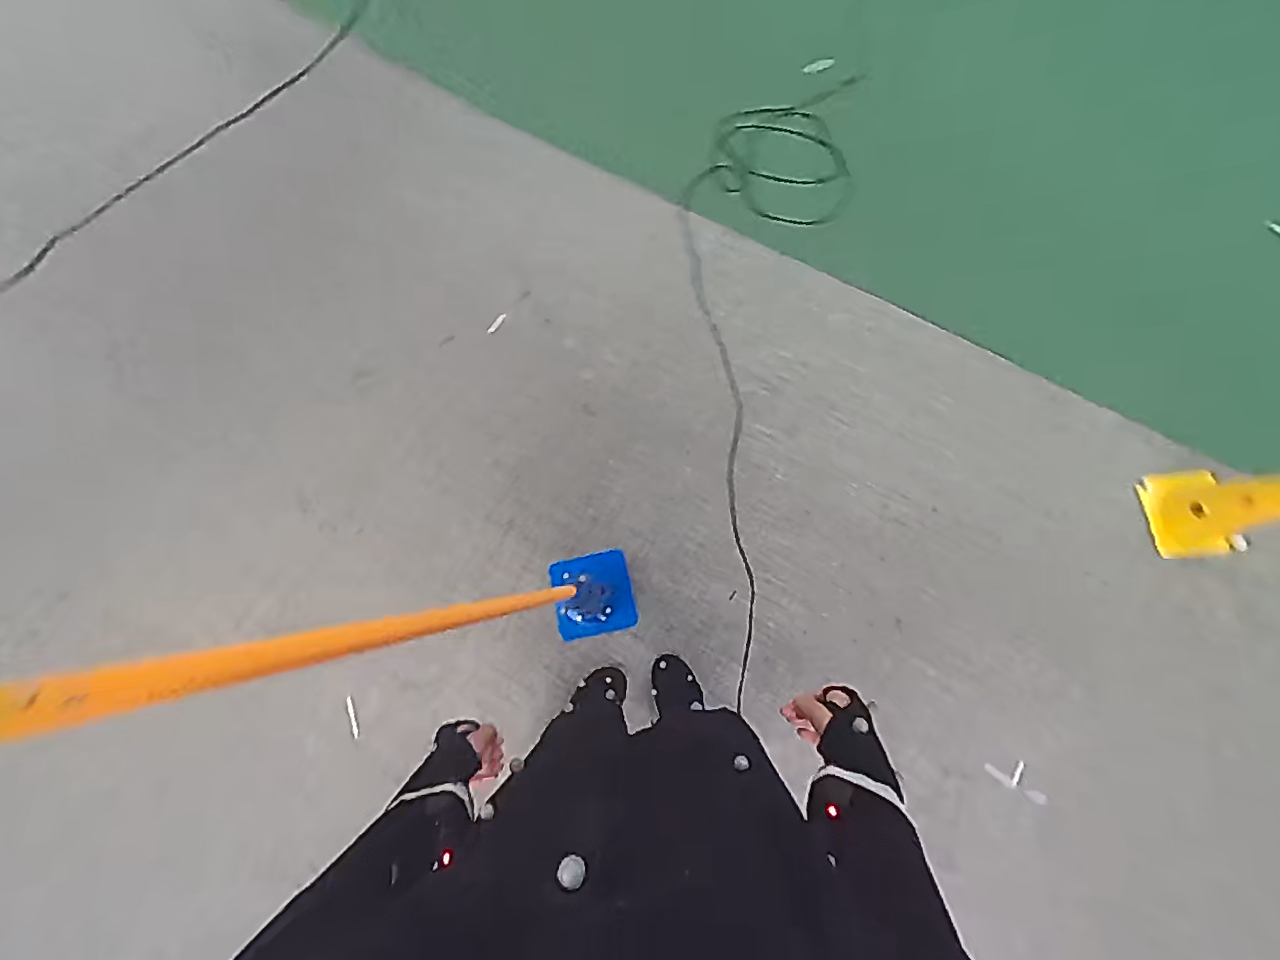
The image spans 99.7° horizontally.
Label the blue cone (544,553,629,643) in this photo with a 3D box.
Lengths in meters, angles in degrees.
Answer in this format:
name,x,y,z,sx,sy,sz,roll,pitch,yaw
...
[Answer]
name,x,y,z,sx,sy,sz,roll,pitch,yaw
blue cone,-0.139,0.258,1.172,0.193,0.380,0.192,-15,78,0
